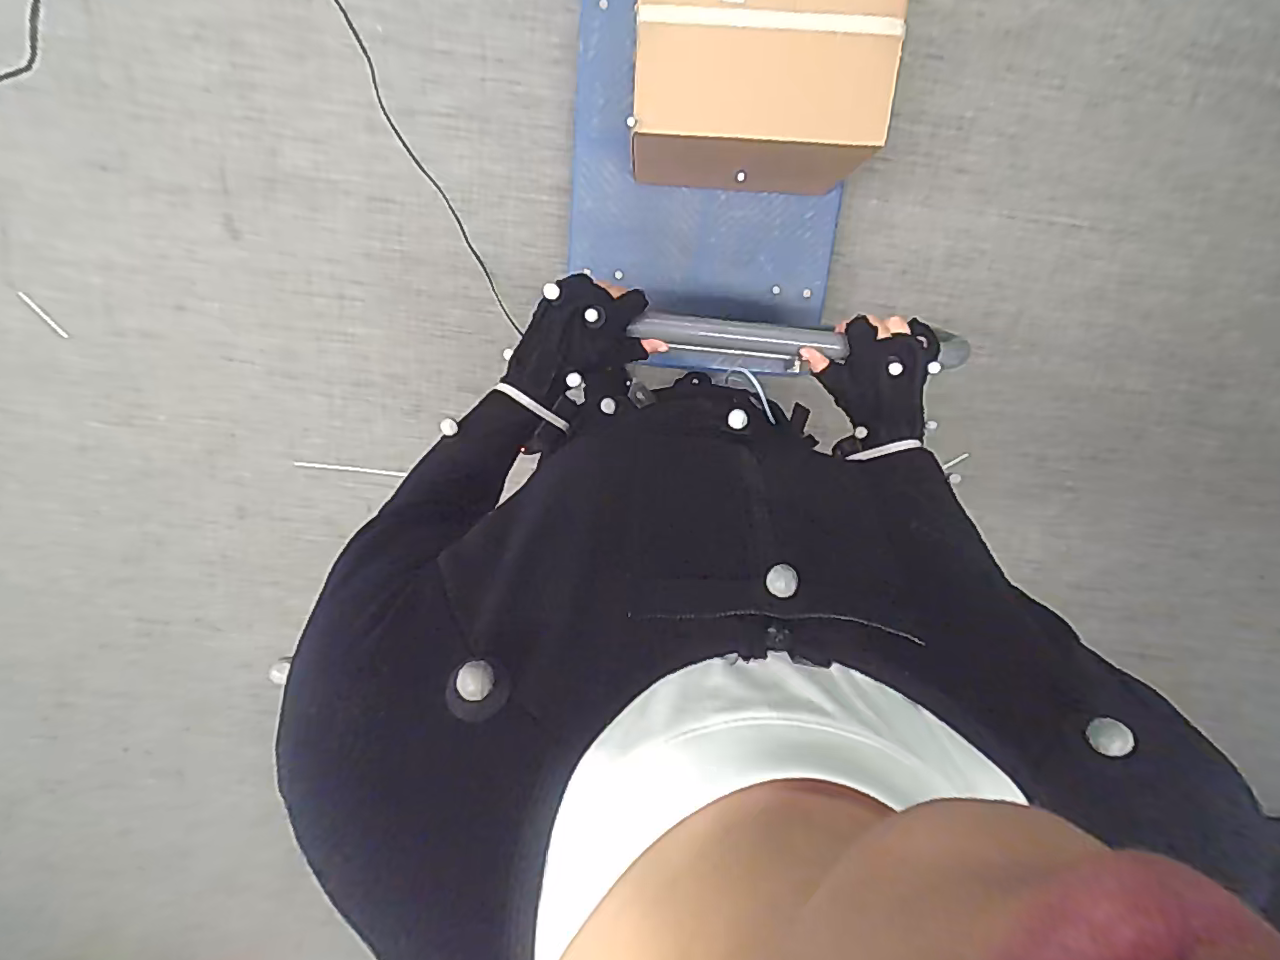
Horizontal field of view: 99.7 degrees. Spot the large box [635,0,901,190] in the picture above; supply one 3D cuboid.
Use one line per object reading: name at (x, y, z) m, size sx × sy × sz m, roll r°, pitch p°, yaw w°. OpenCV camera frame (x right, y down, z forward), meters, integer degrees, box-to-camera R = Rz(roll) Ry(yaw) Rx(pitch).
large box at (0.199, -0.729, 0.972) m, size 0.408 × 0.320 × 0.320 m, roll 2°, pitch 104°, yaw 0°
